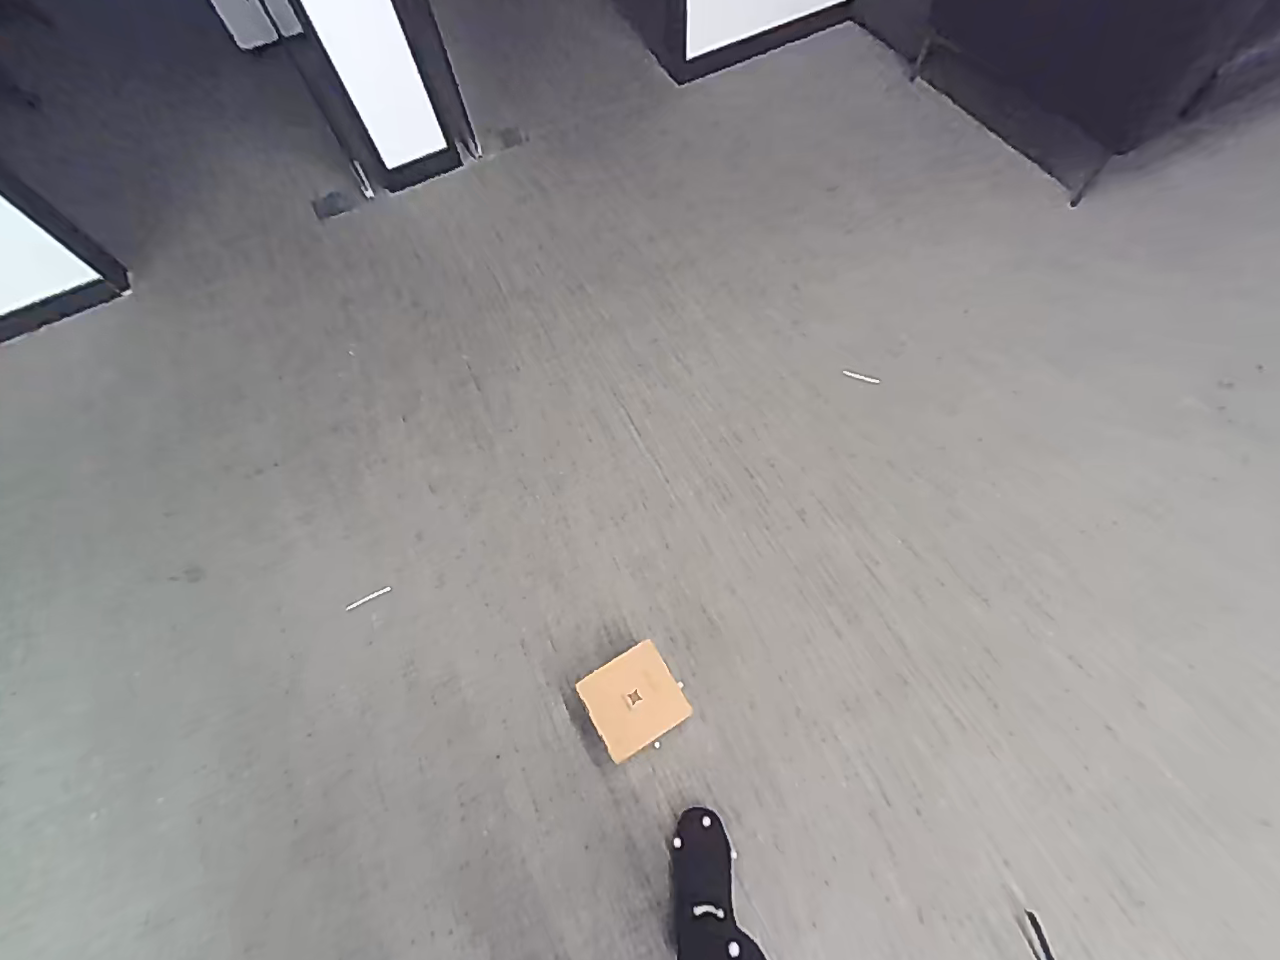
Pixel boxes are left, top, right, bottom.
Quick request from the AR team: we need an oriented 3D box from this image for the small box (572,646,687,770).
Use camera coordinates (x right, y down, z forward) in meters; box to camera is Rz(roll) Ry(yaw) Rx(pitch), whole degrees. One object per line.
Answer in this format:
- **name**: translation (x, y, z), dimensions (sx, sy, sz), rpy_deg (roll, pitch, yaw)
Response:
- **small box**: translation (-0.016, 0.469, 1.110), dimensions (0.179, 0.176, 0.168), rpy_deg (-29, 66, -10)
